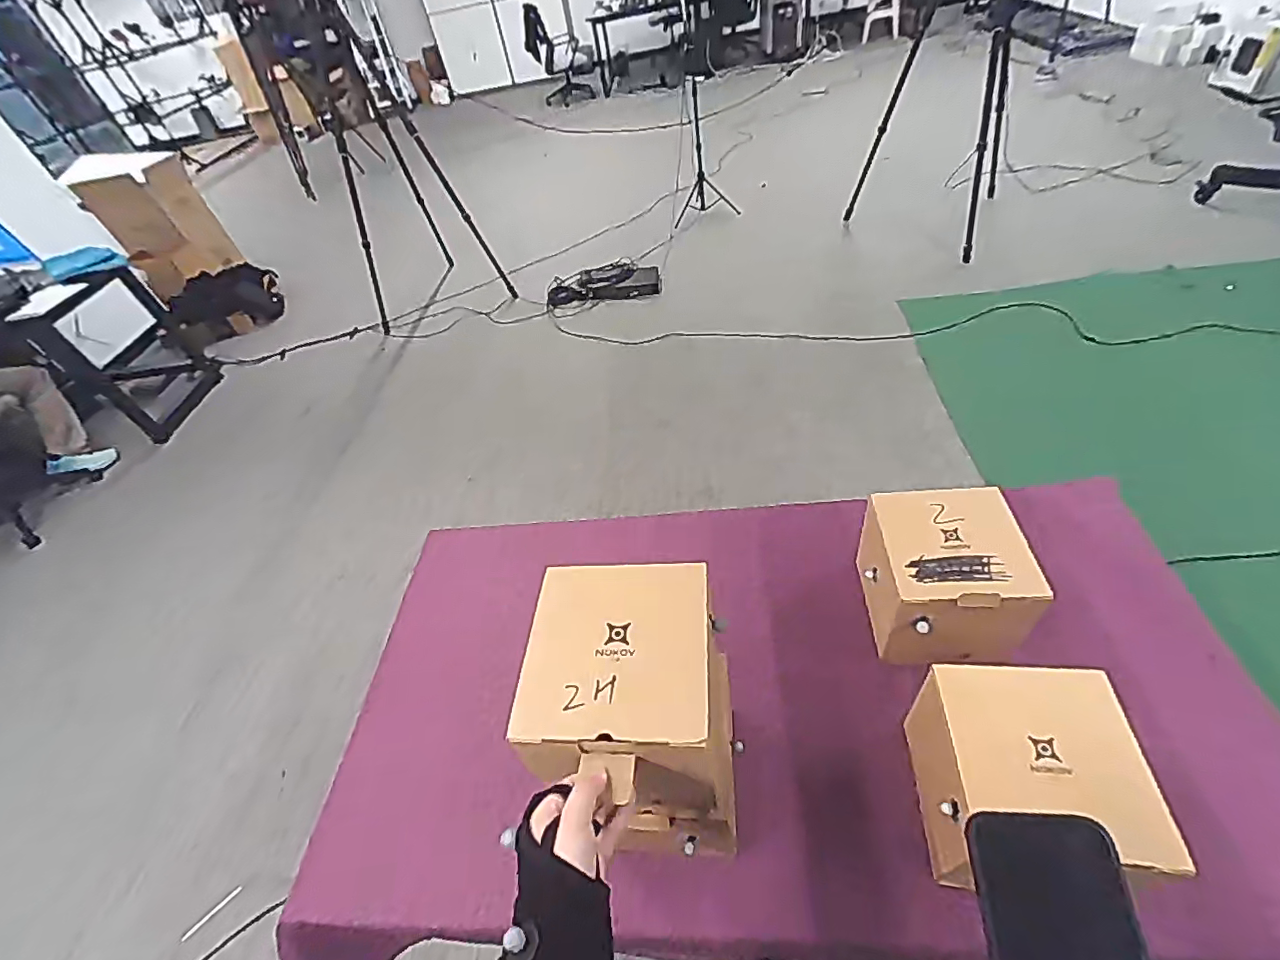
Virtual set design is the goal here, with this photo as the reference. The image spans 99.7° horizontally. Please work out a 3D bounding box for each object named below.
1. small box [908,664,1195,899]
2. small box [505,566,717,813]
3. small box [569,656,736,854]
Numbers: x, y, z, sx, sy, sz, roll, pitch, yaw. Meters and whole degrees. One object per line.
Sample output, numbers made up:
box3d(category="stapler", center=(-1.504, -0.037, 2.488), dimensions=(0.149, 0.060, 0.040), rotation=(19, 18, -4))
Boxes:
box3d(category="small box", center=(0.399, 0.316, 0.572), dimensions=(0.168, 0.176, 0.179), rotation=(-2, 48, 12))
box3d(category="small box", center=(-0.011, 0.205, 0.540), dimensions=(0.168, 0.176, 0.179), rotation=(-2, 45, 10))
box3d(category="small box", center=(0.027, 0.329, 0.649), dimensions=(0.168, 0.176, 0.179), rotation=(-3, 46, 10))
